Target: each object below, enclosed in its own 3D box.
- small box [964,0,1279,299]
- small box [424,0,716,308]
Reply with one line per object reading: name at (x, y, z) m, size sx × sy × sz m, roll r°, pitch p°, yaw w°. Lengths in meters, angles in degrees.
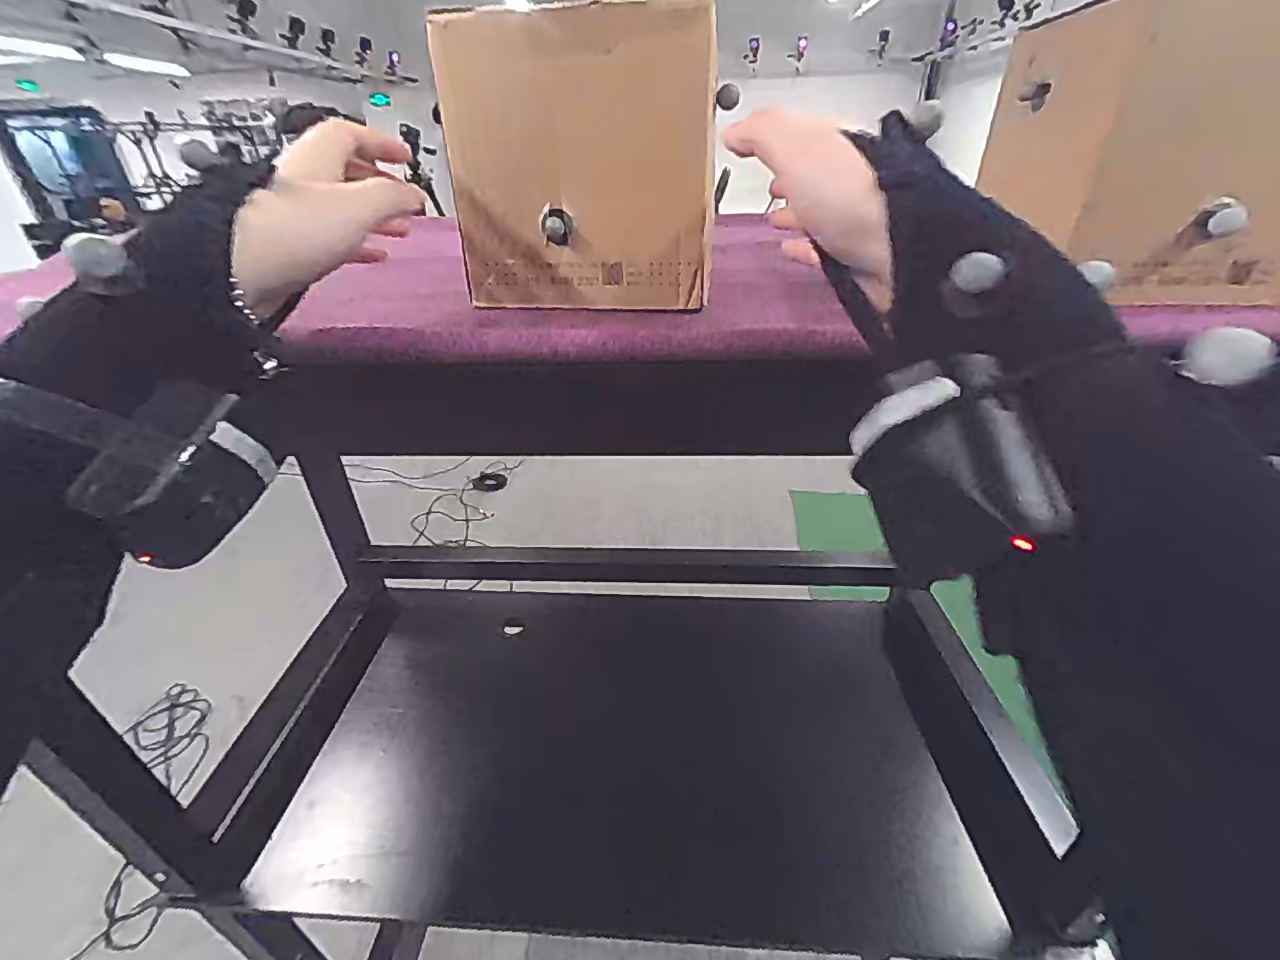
small box at (0.353, -0.231, 0.370) m, size 0.168 × 0.176 × 0.179 m, roll 2°, pitch 33°, yaw 9°
small box at (-0.031, -0.236, 0.407) m, size 0.168 × 0.176 × 0.179 m, roll 2°, pitch 31°, yaw 8°
